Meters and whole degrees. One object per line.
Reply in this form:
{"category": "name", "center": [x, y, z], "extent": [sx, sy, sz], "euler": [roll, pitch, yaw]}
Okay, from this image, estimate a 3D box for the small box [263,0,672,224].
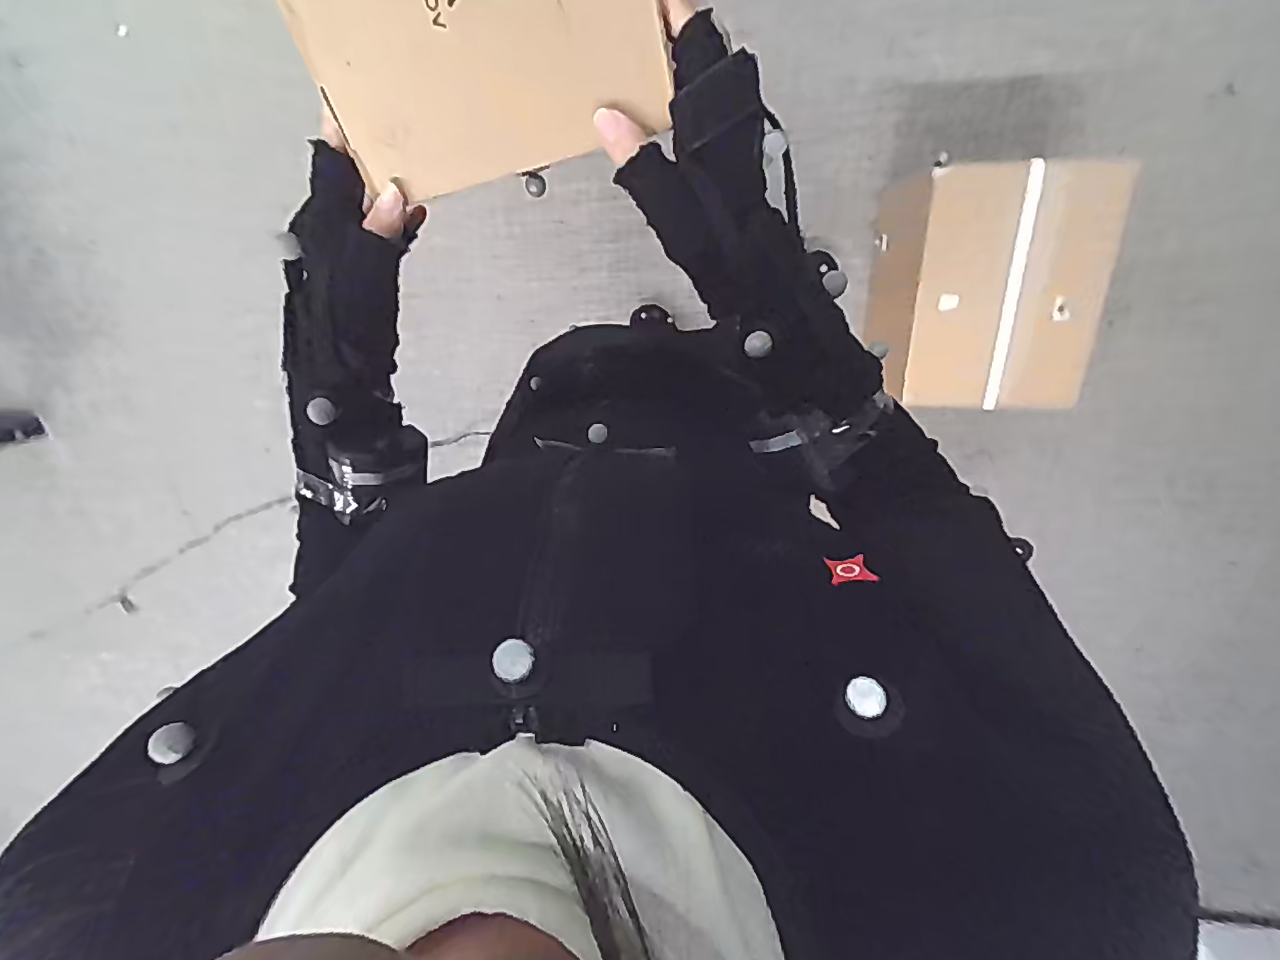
{"category": "small box", "center": [-0.084, -0.270, 0.315], "extent": [0.179, 0.176, 0.168], "euler": [-12, 124, 12]}
